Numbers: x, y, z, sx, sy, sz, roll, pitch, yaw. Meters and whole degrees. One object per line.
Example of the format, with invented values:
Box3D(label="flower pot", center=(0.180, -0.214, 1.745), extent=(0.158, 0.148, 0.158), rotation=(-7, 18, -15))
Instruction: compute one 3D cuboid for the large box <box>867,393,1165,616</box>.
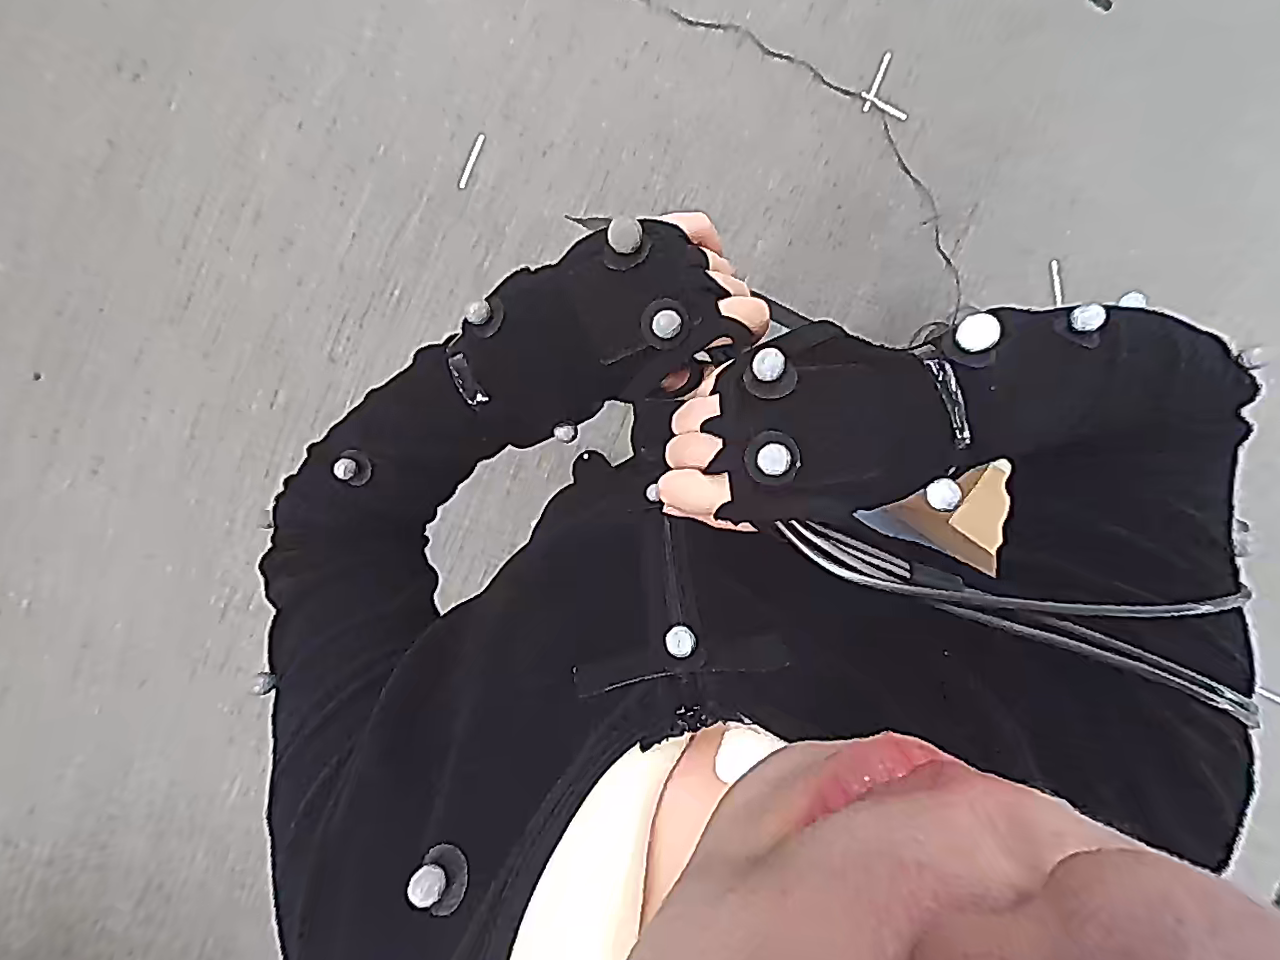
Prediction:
Box3D(label="large box", center=(0.825, 0.038, 1.240), extent=(0.408, 0.320, 0.320), rotation=(33, 94, -9))
